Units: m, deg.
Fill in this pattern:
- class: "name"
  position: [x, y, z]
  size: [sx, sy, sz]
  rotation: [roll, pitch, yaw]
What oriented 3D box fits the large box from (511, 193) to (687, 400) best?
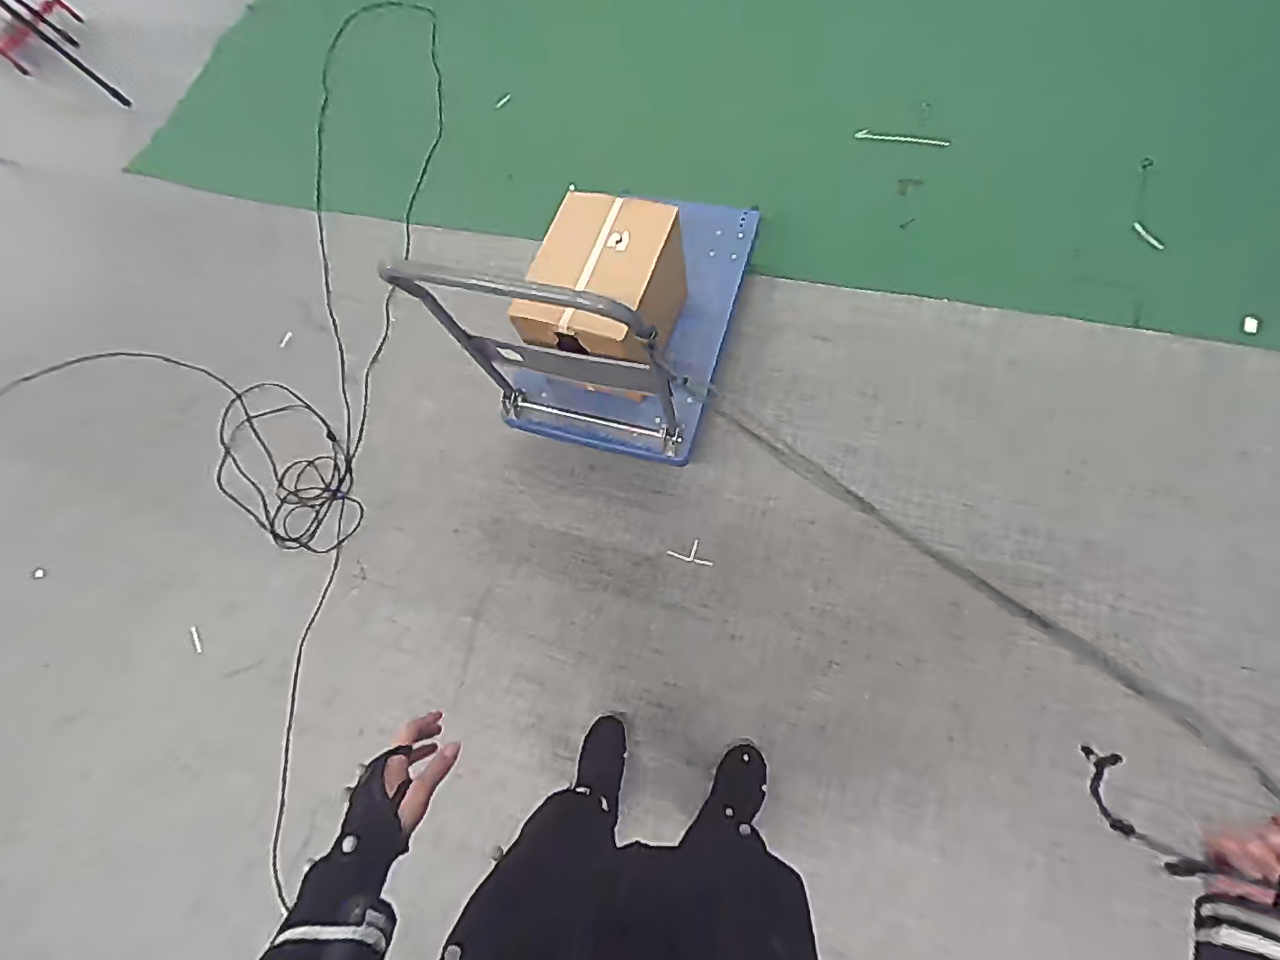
- class: "large box"
  position: [-0.086, -0.483, 1.458]
  size: [0.320, 0.320, 0.408]
  rotation: [17, 74, 14]
